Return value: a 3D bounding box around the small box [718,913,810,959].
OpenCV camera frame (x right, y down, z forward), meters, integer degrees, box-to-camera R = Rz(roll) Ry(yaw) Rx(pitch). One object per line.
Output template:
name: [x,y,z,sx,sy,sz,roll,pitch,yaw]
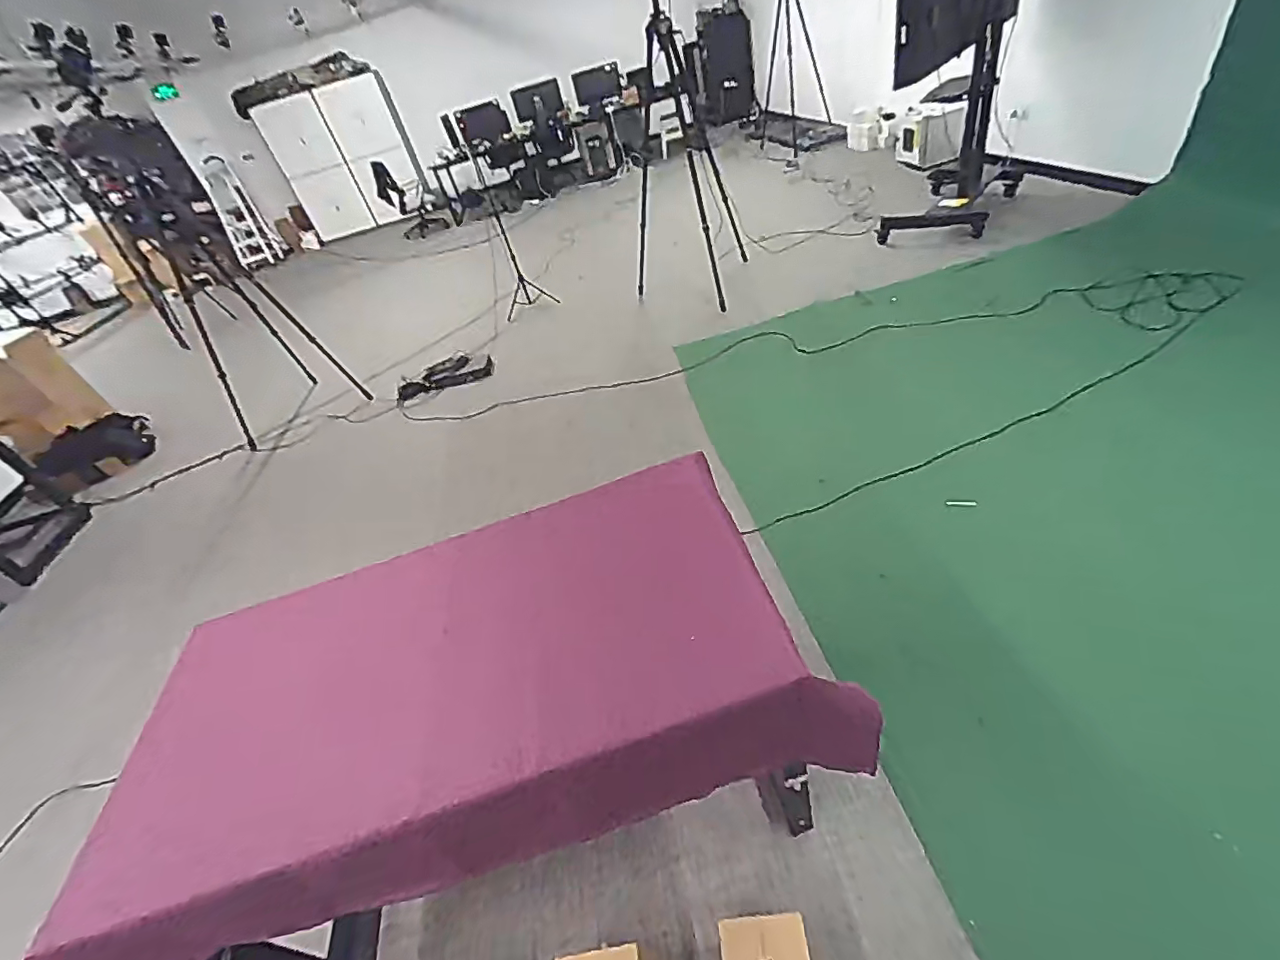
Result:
small box: [0.254,0.974,1.049,0.168,0.176,0.179,-11,38,7]
